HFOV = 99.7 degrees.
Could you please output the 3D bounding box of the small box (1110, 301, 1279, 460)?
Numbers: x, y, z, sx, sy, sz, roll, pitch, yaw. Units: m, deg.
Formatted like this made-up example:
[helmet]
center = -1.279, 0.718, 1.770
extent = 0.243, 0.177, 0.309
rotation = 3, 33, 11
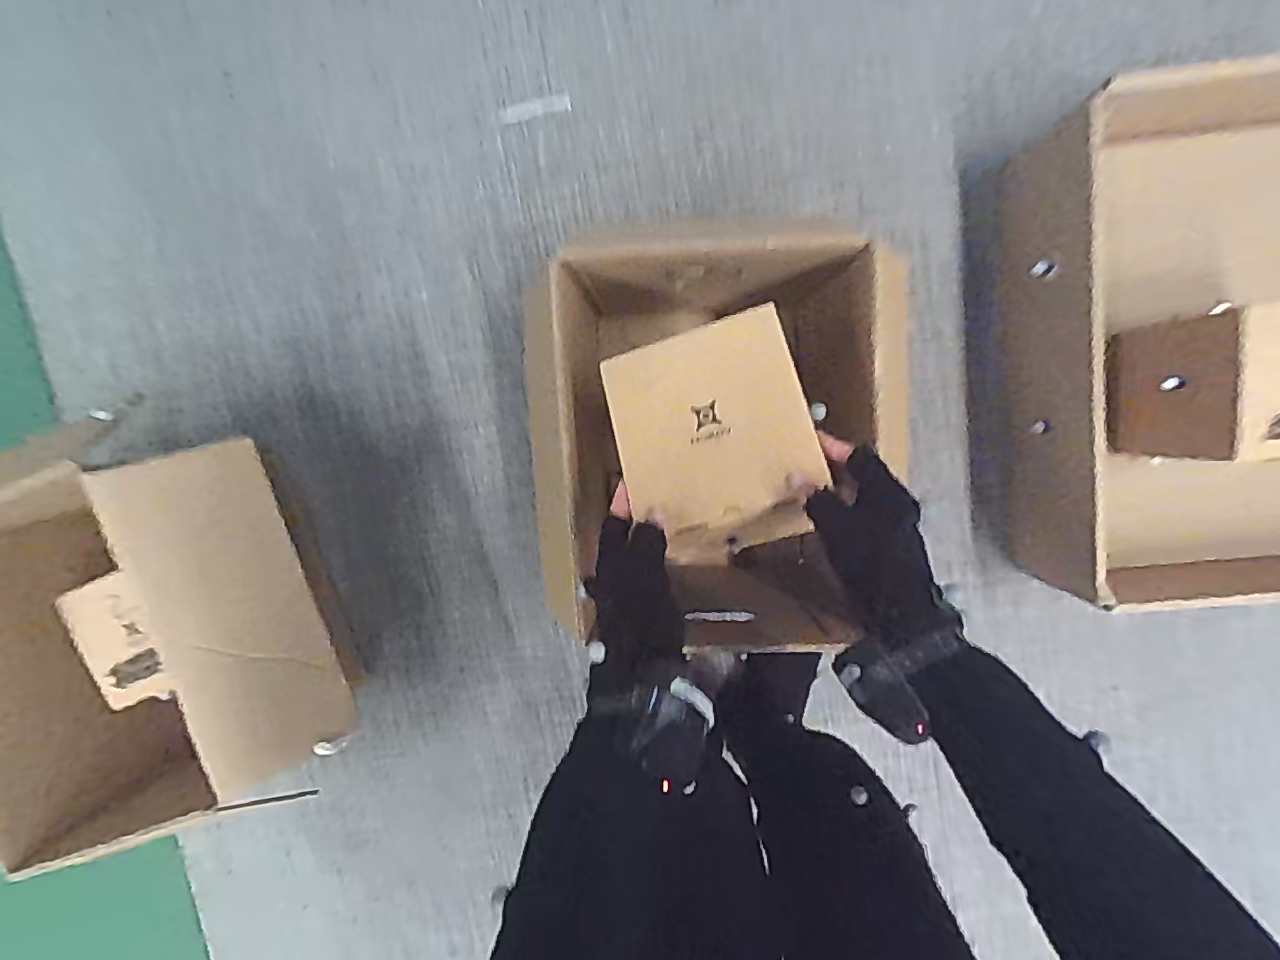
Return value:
[small box]
center = 0.743, -0.121, 0.683
extent = 0.168, 0.176, 0.179
rotation = -3, 94, 3
